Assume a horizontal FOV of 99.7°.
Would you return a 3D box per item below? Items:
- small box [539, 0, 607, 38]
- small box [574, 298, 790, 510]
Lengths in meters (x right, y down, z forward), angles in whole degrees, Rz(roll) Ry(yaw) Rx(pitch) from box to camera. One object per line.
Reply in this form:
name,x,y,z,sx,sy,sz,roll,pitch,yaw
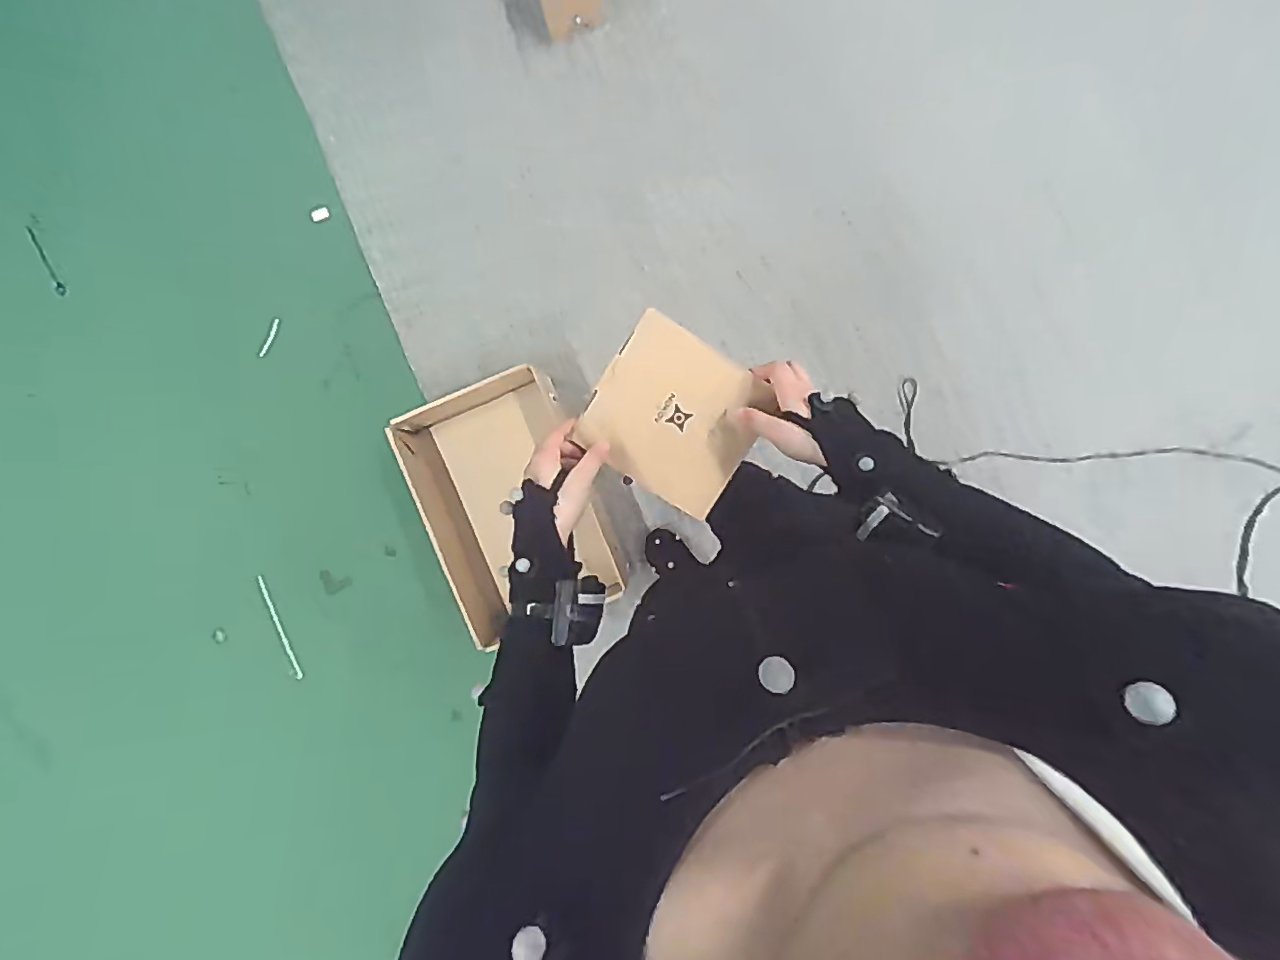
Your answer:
small box,-0.191,-1.302,1.388,0.168,0.176,0.179,-18,90,3
small box,0.043,-0.087,0.650,0.179,0.176,0.168,32,96,-5
